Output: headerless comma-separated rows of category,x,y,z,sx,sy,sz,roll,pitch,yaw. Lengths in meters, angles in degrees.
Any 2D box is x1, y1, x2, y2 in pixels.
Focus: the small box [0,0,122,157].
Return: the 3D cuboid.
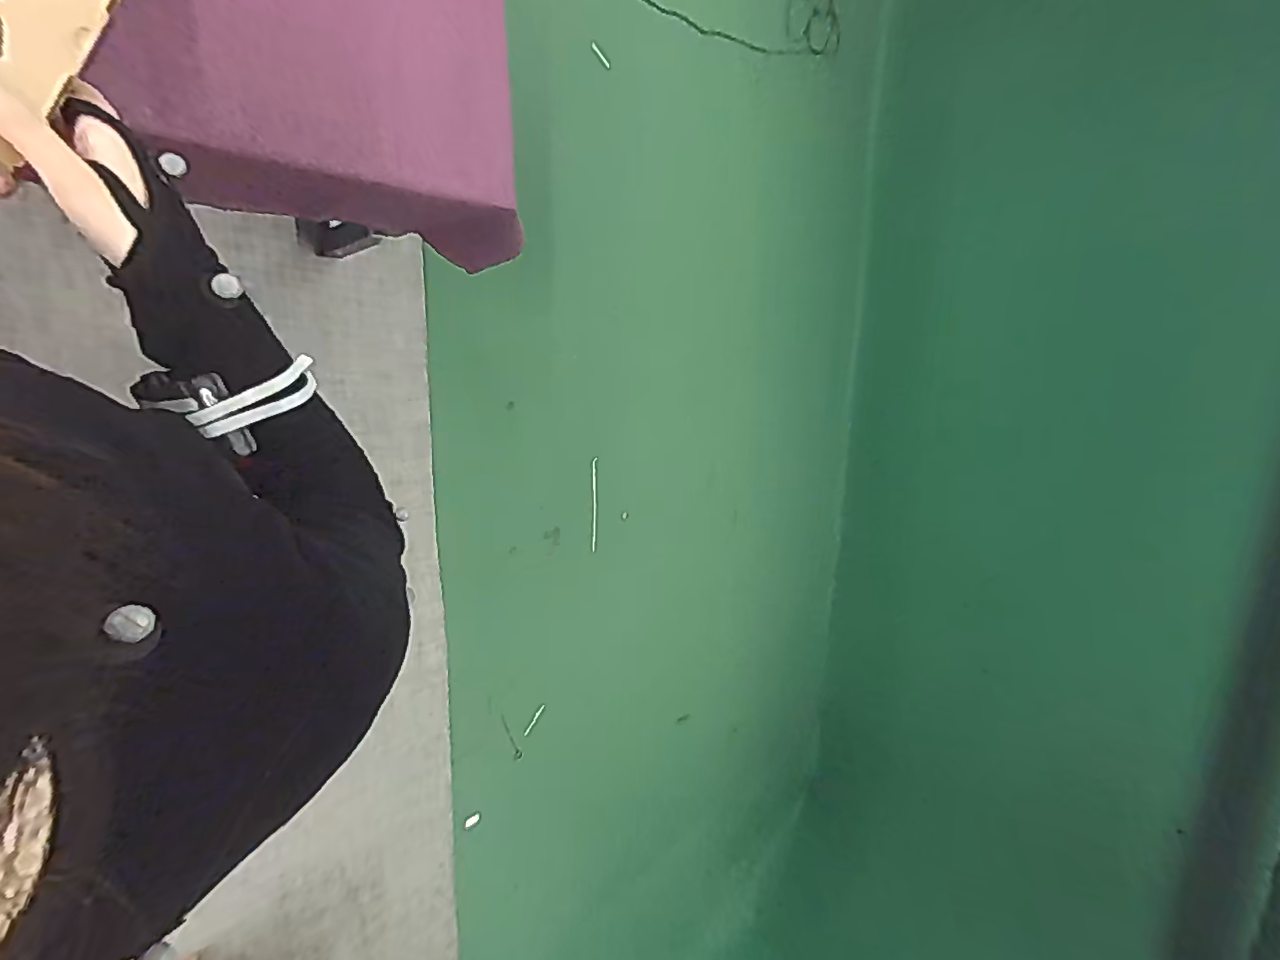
small box,-0.399,-0.279,0.246,0.179,0.176,0.168,44,61,-67
